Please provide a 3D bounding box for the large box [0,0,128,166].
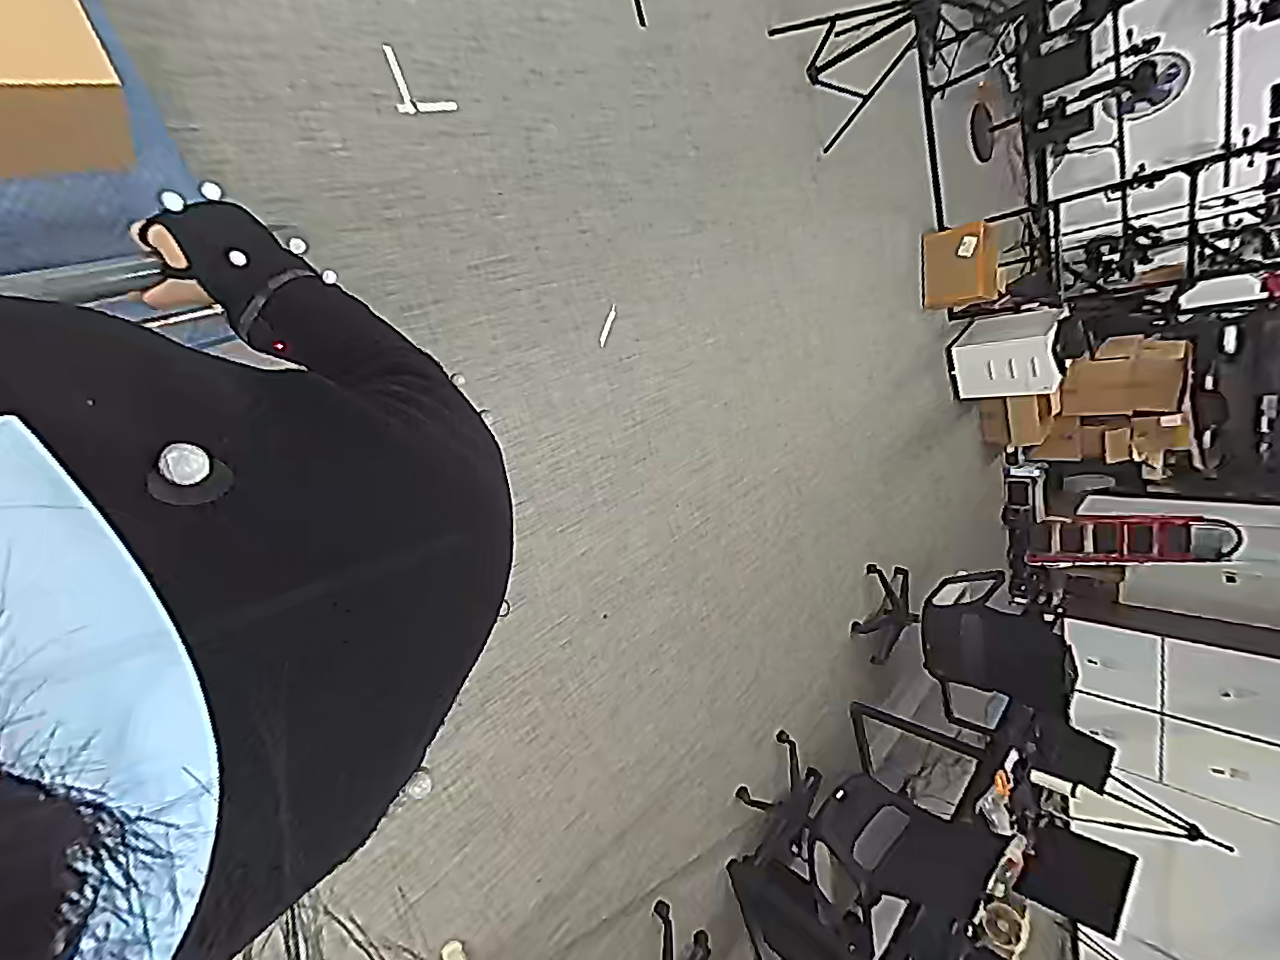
[{"bbox_3d":[-1.006,-0.622,0.701,0.408,0.320,0.320,-31,112,-34],"label":"large box"}]
